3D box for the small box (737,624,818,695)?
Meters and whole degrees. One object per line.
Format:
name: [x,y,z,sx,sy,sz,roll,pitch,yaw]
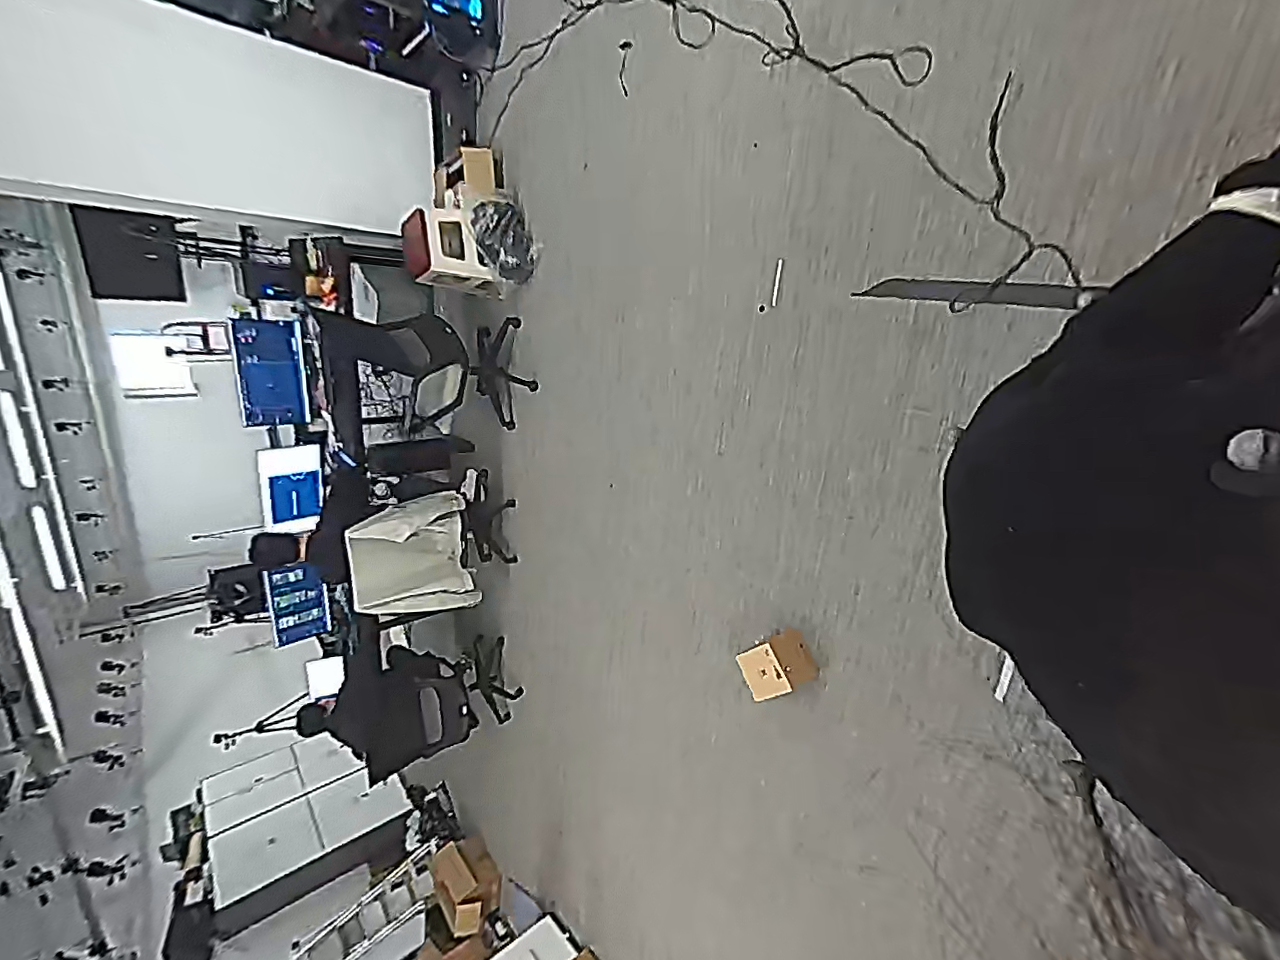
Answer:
small box: [0.476,0.618,1.865,0.179,0.176,0.168,-44,65,46]
